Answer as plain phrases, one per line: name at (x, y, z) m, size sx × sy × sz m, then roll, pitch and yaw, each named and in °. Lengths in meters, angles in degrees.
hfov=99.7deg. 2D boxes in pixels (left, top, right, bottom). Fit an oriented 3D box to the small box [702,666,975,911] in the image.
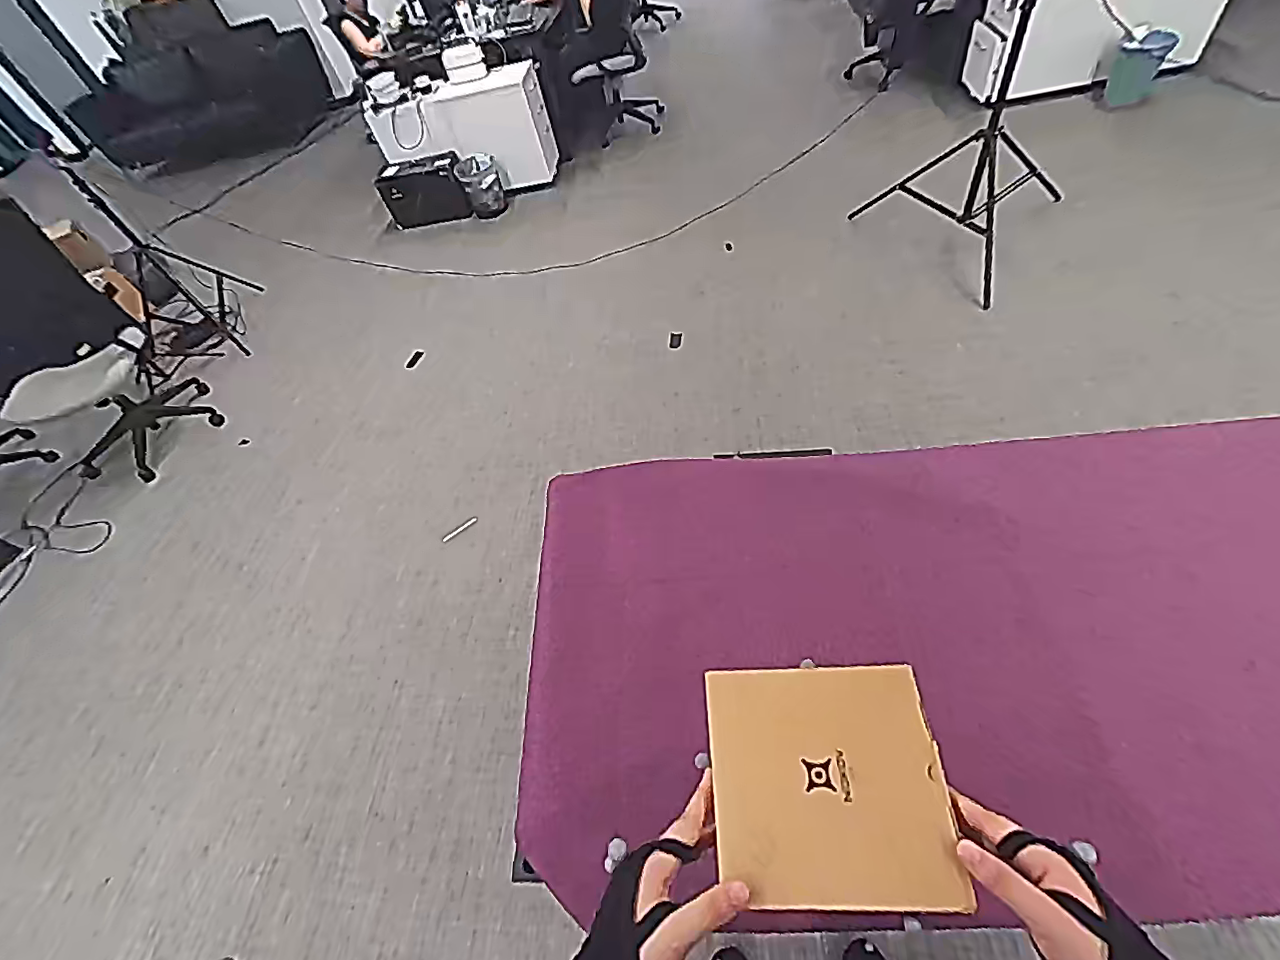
small box at (0.150, 0.275, 0.480) m, size 0.179 × 0.176 × 0.168 m, roll -4°, pitch 54°, yaw 5°
